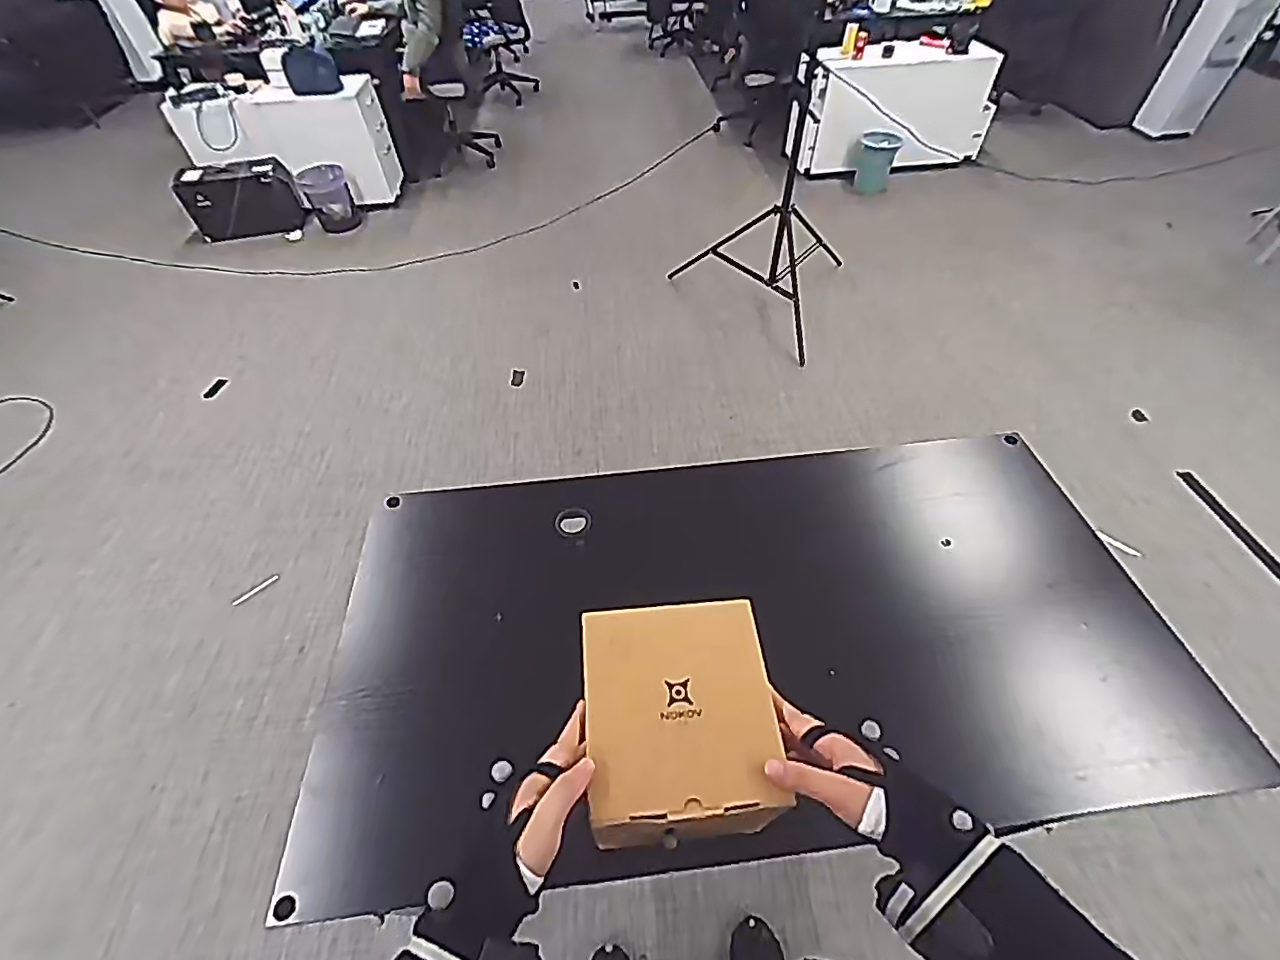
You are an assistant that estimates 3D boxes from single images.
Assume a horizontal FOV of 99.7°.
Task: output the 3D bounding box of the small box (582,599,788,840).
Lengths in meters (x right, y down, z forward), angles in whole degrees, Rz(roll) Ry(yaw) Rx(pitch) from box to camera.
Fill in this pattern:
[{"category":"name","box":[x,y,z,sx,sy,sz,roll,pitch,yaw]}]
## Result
[{"category":"small box","box":[0.028,0.238,0.536,0.168,0.176,0.179,-4,52,-4]}]
